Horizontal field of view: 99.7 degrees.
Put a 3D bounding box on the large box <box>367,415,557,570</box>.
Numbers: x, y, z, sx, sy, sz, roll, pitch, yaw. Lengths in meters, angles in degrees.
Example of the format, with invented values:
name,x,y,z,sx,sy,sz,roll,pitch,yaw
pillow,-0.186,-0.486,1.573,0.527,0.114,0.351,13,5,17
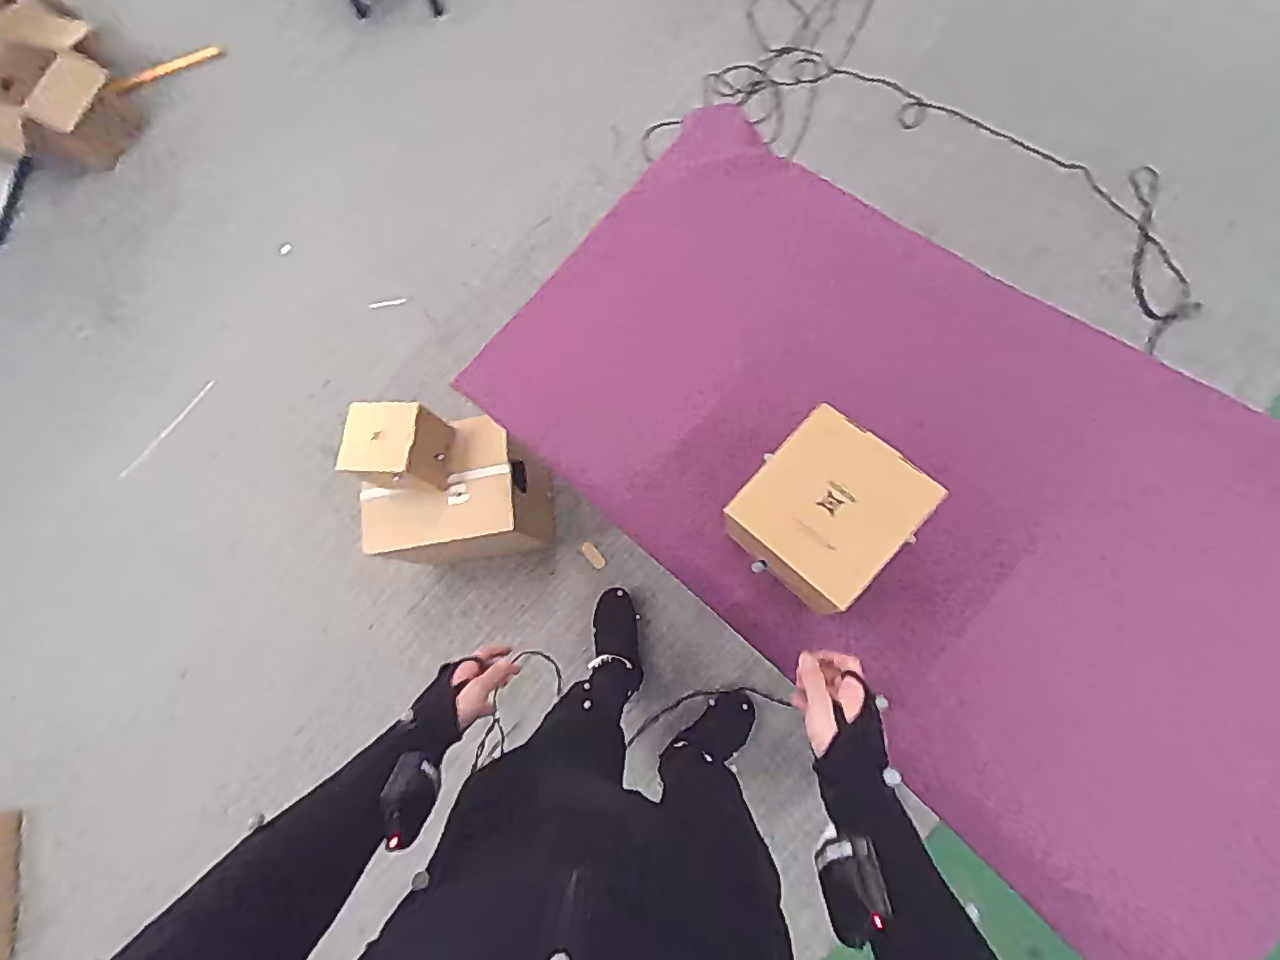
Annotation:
name,x,y,z,sx,sy,sz,roll,pitch,yaw
large box,-0.477,0.054,1.492,0.408,0.320,0.320,-10,74,7

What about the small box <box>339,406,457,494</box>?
name,x,y,z,sx,sy,sz,roll,pitch,yaw
small box,-0.567,-0.067,1.285,0.179,0.176,0.168,1,73,11

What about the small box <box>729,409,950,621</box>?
name,x,y,z,sx,sy,sz,roll,pitch,yaw
small box,0.224,0.052,0.657,0.168,0.176,0.179,42,85,19
